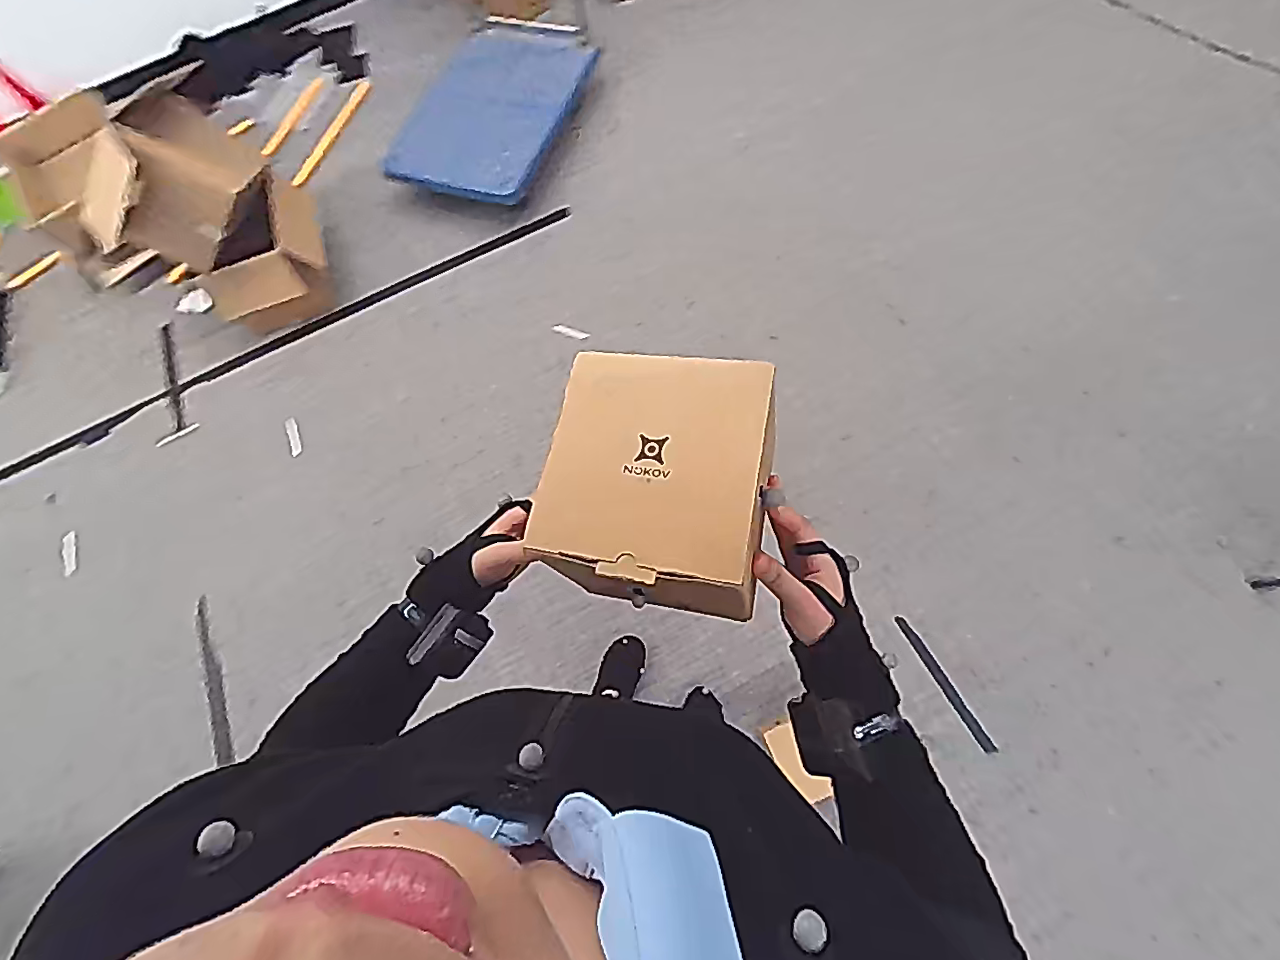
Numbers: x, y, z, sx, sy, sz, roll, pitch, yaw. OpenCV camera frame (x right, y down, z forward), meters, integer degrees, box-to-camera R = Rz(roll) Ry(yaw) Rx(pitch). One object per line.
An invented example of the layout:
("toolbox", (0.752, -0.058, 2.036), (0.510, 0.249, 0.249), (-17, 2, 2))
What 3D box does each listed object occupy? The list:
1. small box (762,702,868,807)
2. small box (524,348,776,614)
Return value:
("small box", (0.398, 0.638, 1.275), (0.179, 0.176, 0.168), (-22, 69, -2))
("small box", (0.024, 0.008, 0.472), (0.168, 0.176, 0.179), (5, 70, 15))
